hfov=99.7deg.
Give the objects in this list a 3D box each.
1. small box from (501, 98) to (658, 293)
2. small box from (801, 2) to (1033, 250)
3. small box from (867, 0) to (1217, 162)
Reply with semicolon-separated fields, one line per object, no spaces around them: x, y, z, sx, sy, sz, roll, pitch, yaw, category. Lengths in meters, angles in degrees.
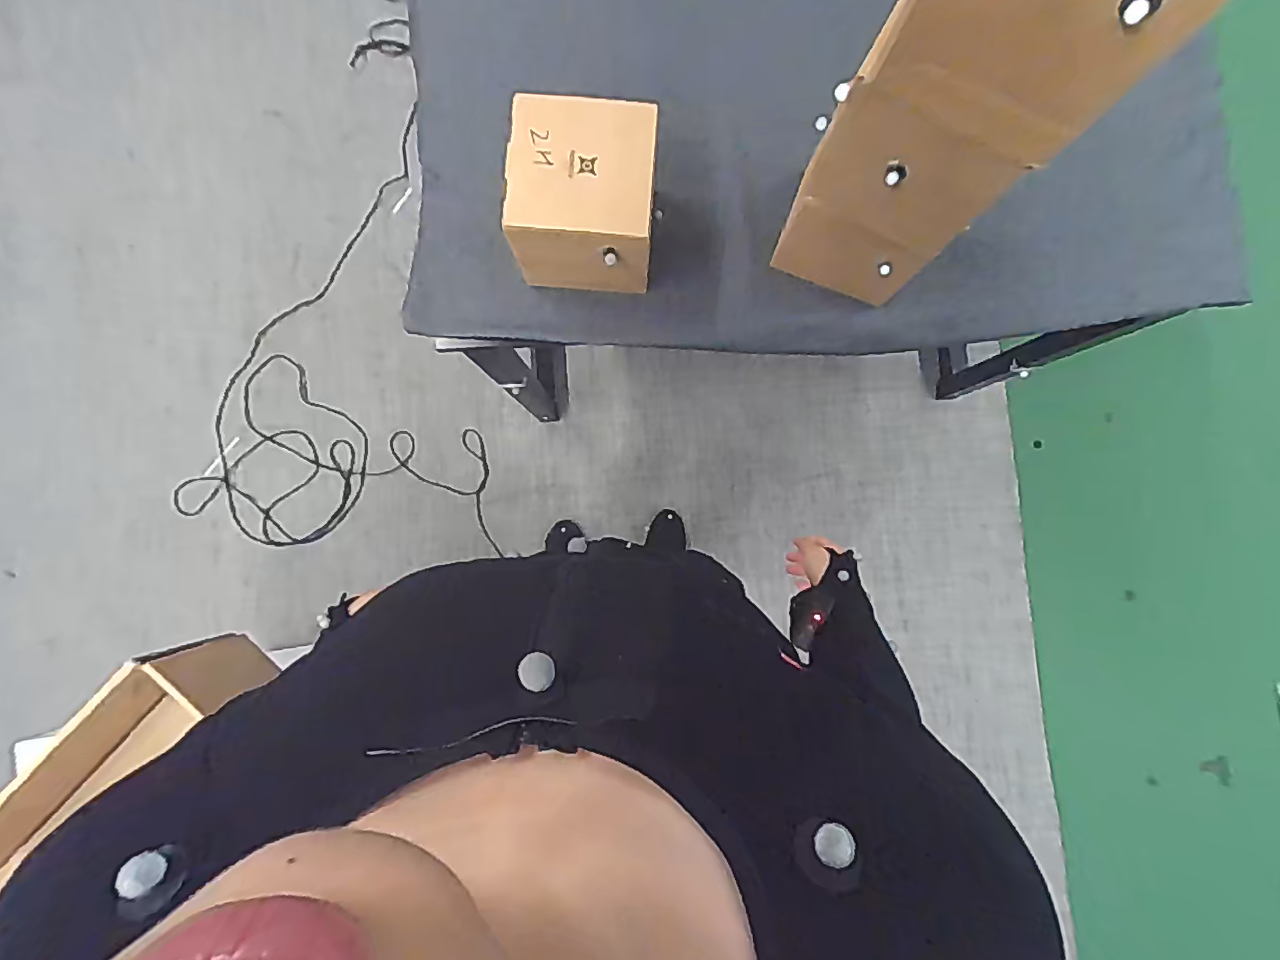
-0.072;-0.362;0.719;0.179;0.176;0.168;4;87;0;small box
0.298;-0.369;0.556;0.179;0.176;0.168;29;86;3;small box
0.302;-0.379;0.394;0.179;0.176;0.168;29;86;2;small box
